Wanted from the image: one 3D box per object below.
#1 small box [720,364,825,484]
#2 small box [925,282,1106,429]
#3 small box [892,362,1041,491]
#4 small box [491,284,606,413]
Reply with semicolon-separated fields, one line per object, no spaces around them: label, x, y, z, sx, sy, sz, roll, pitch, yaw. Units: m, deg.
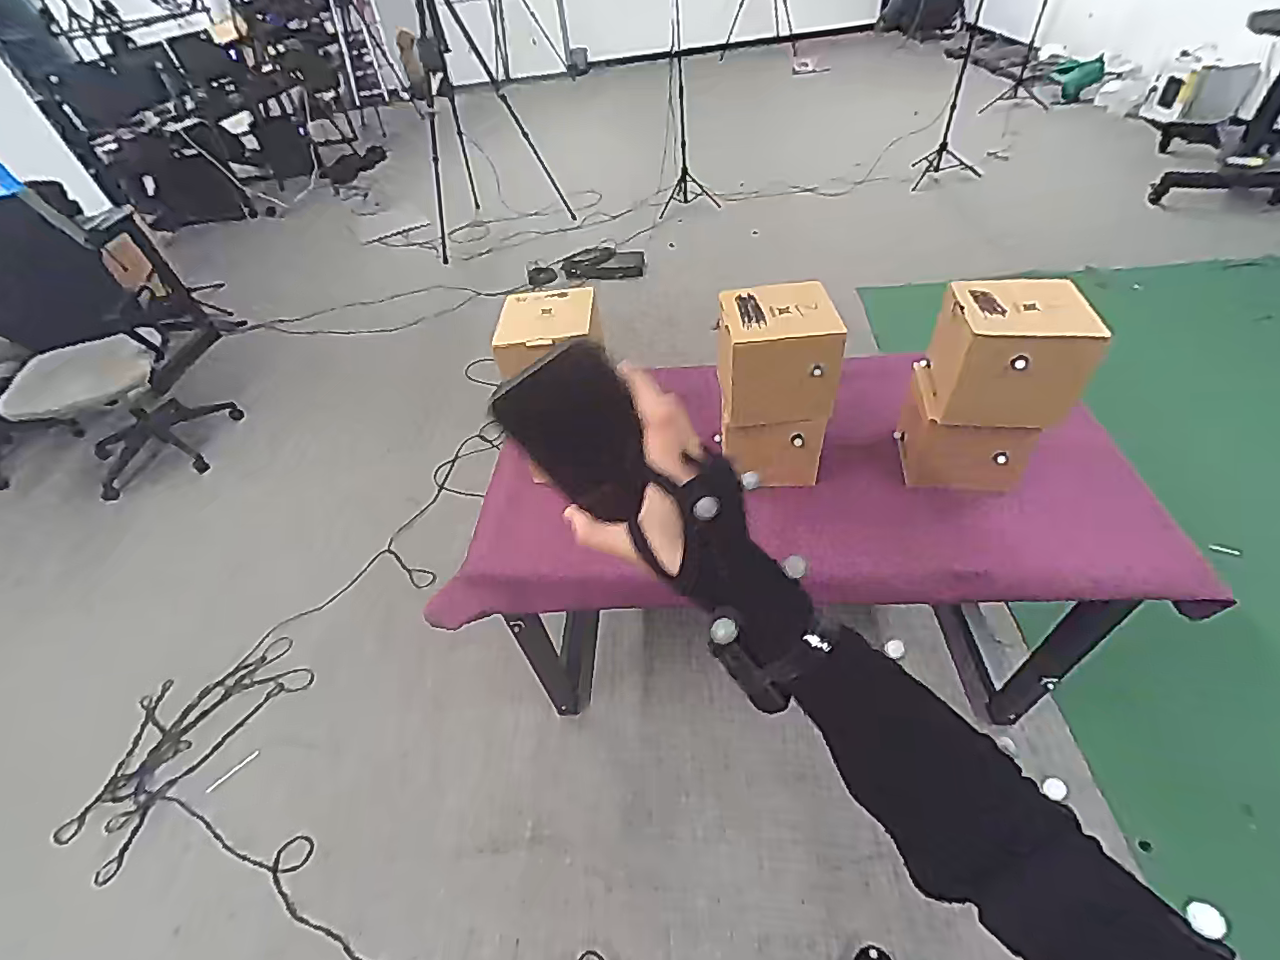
small box;0.245;-0.105;1.043;0.179;0.176;0.168;0;47;8
small box;0.571;-0.196;0.858;0.179;0.176;0.168;4;47;11
small box;0.581;-0.095;0.988;0.179;0.176;0.168;4;47;12
small box;-0.157;-0.236;0.998;0.168;0.176;0.179;-3;47;4
